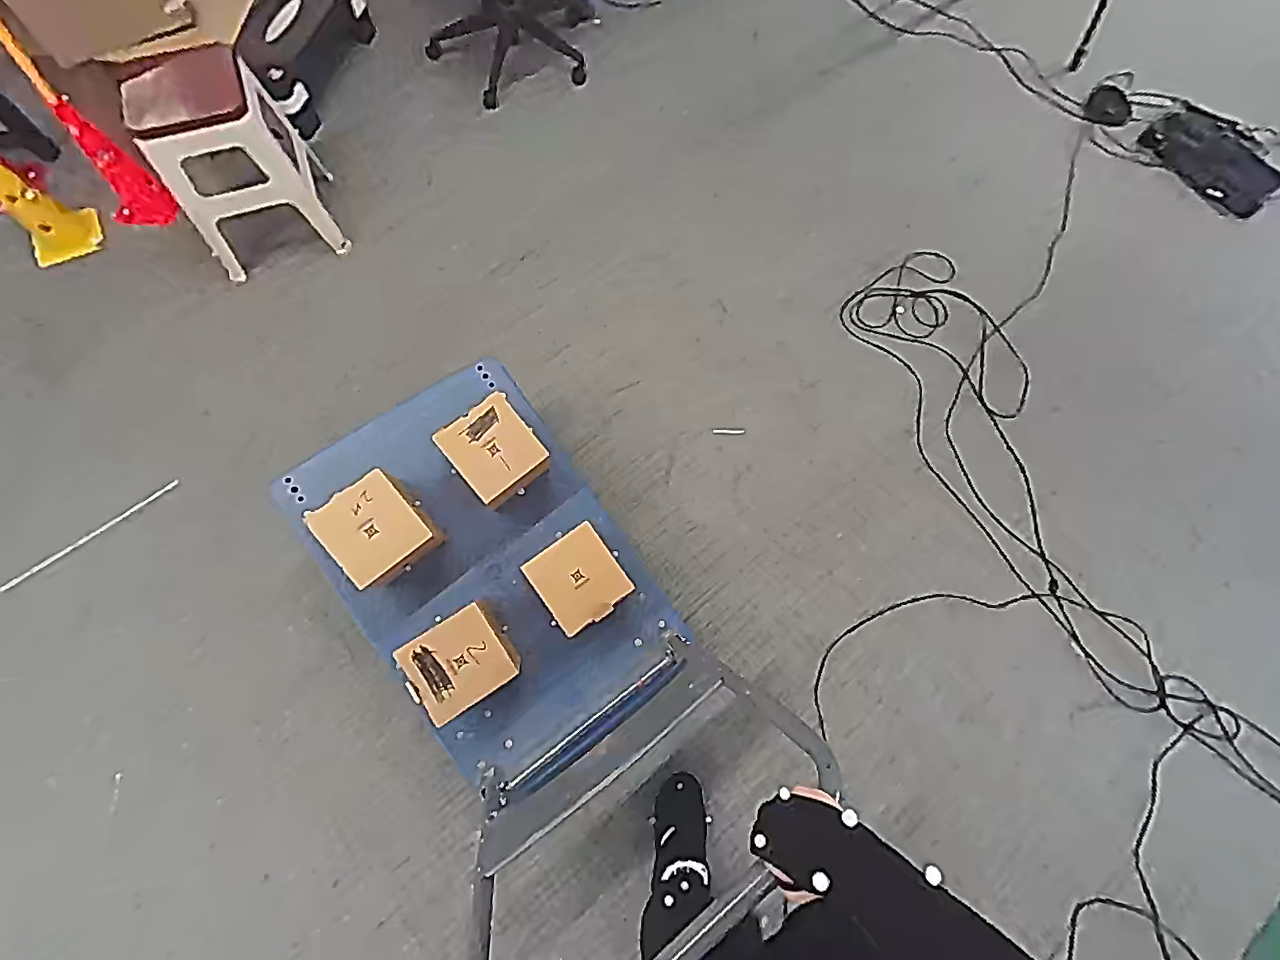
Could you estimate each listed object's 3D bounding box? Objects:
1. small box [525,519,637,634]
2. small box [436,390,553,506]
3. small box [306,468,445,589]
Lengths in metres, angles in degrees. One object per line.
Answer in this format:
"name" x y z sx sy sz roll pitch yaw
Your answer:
"small box" -0.133 0.205 1.164 0.168 0.176 0.179 -35 90 -13
"small box" -0.308 -0.060 1.168 0.168 0.176 0.179 -39 91 -13
"small box" -0.524 0.099 1.103 0.168 0.176 0.179 -39 91 -14
